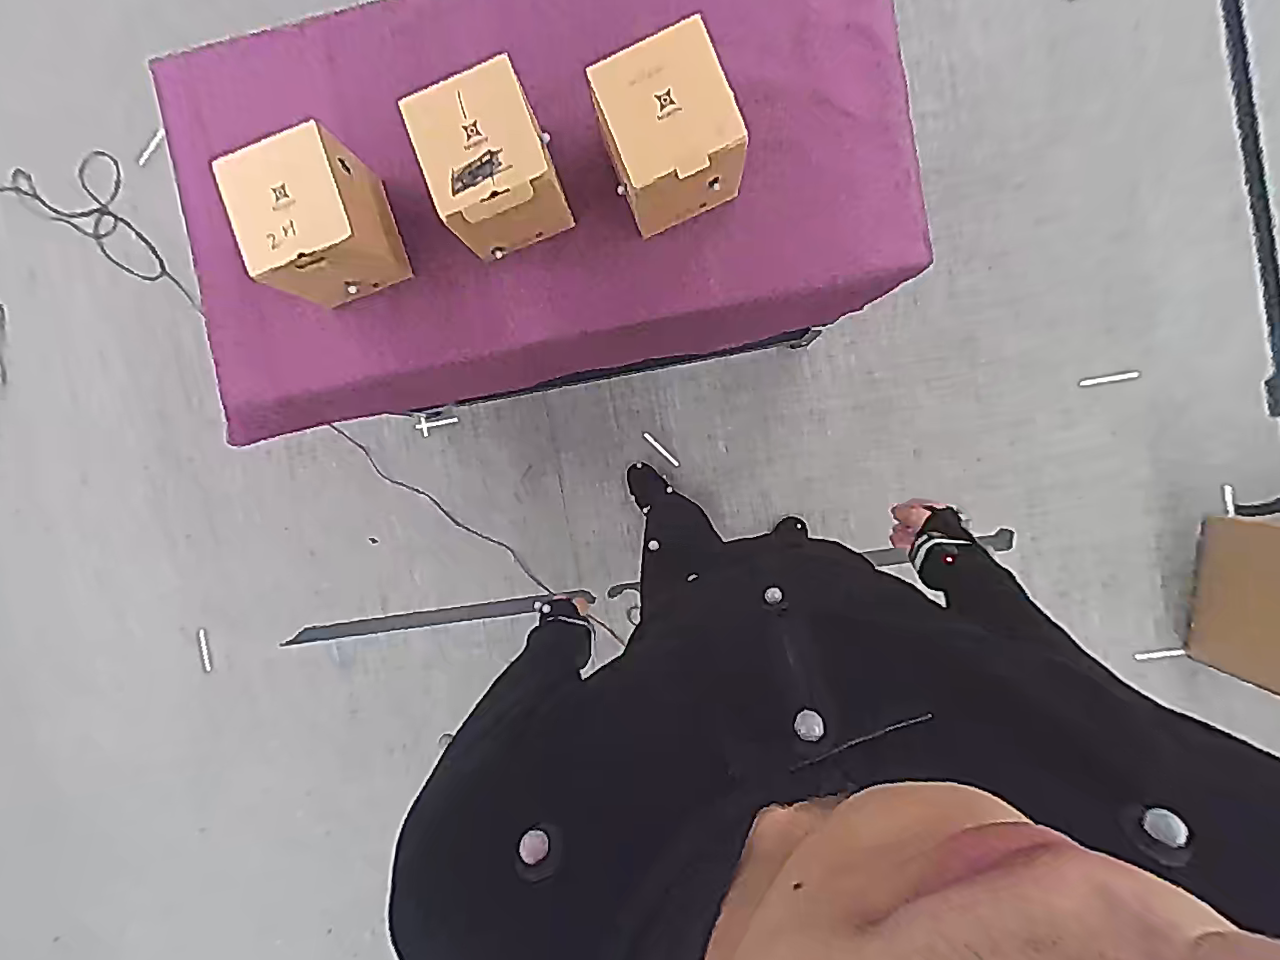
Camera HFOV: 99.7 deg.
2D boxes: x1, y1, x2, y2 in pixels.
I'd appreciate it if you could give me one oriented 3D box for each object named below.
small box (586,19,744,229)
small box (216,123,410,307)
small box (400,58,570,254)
[{"bbox_3d":[0.040,-0.499,0.796,0.168,0.176,0.179,-22,90,5],"label":"small box"},{"bbox_3d":[-0.493,-0.395,0.840,0.168,0.176,0.179,-18,91,5],"label":"small box"},{"bbox_3d":[-0.220,-0.466,0.816,0.168,0.176,0.179,-20,90,5],"label":"small box"}]
